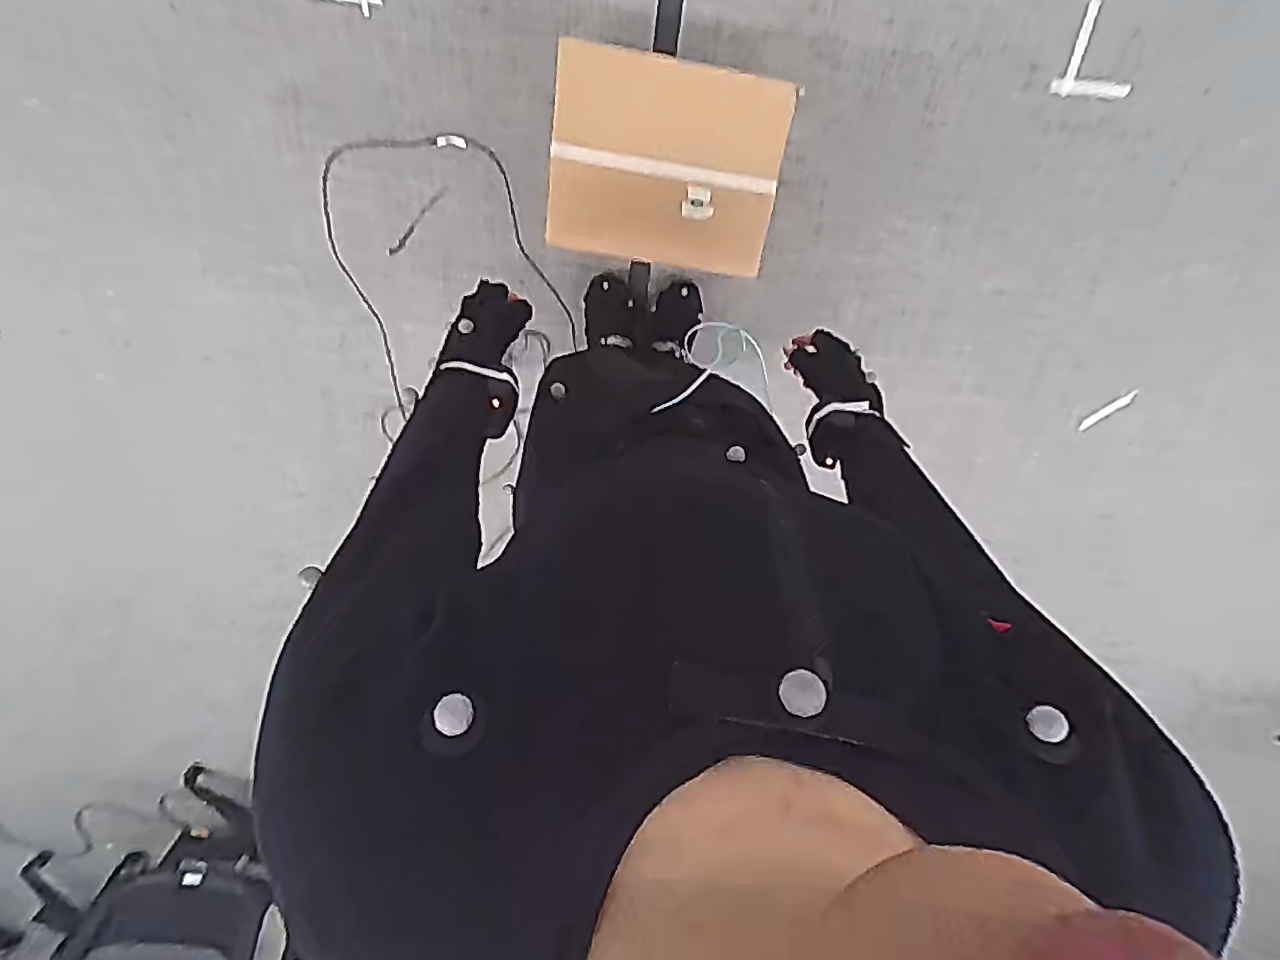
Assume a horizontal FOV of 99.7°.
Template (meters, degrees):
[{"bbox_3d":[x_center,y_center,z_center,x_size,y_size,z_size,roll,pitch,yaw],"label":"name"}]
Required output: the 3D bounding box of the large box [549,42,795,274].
[{"bbox_3d":[0.040,-0.620,1.095,0.408,0.320,0.320,7,116,-6],"label":"large box"}]
